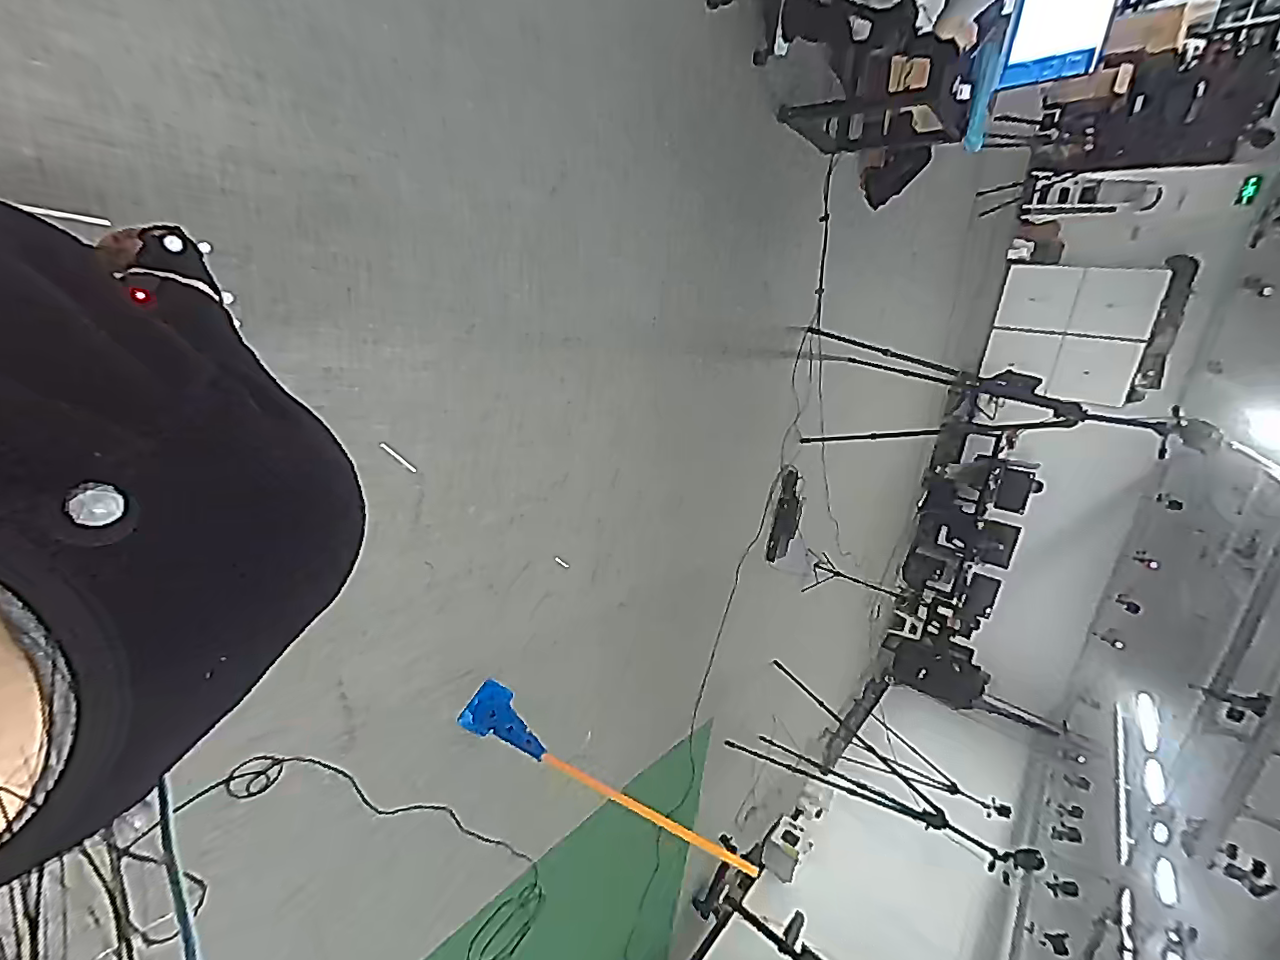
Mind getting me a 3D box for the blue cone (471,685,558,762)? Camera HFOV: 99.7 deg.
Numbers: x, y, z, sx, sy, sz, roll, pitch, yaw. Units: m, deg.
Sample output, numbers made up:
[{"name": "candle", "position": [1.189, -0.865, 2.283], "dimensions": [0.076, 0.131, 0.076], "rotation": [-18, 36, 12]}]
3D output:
[{"name": "blue cone", "position": [-0.457, 0.967, 2.077], "dimensions": [0.193, 0.380, 0.192], "rotation": [-56, 140, -21]}]
